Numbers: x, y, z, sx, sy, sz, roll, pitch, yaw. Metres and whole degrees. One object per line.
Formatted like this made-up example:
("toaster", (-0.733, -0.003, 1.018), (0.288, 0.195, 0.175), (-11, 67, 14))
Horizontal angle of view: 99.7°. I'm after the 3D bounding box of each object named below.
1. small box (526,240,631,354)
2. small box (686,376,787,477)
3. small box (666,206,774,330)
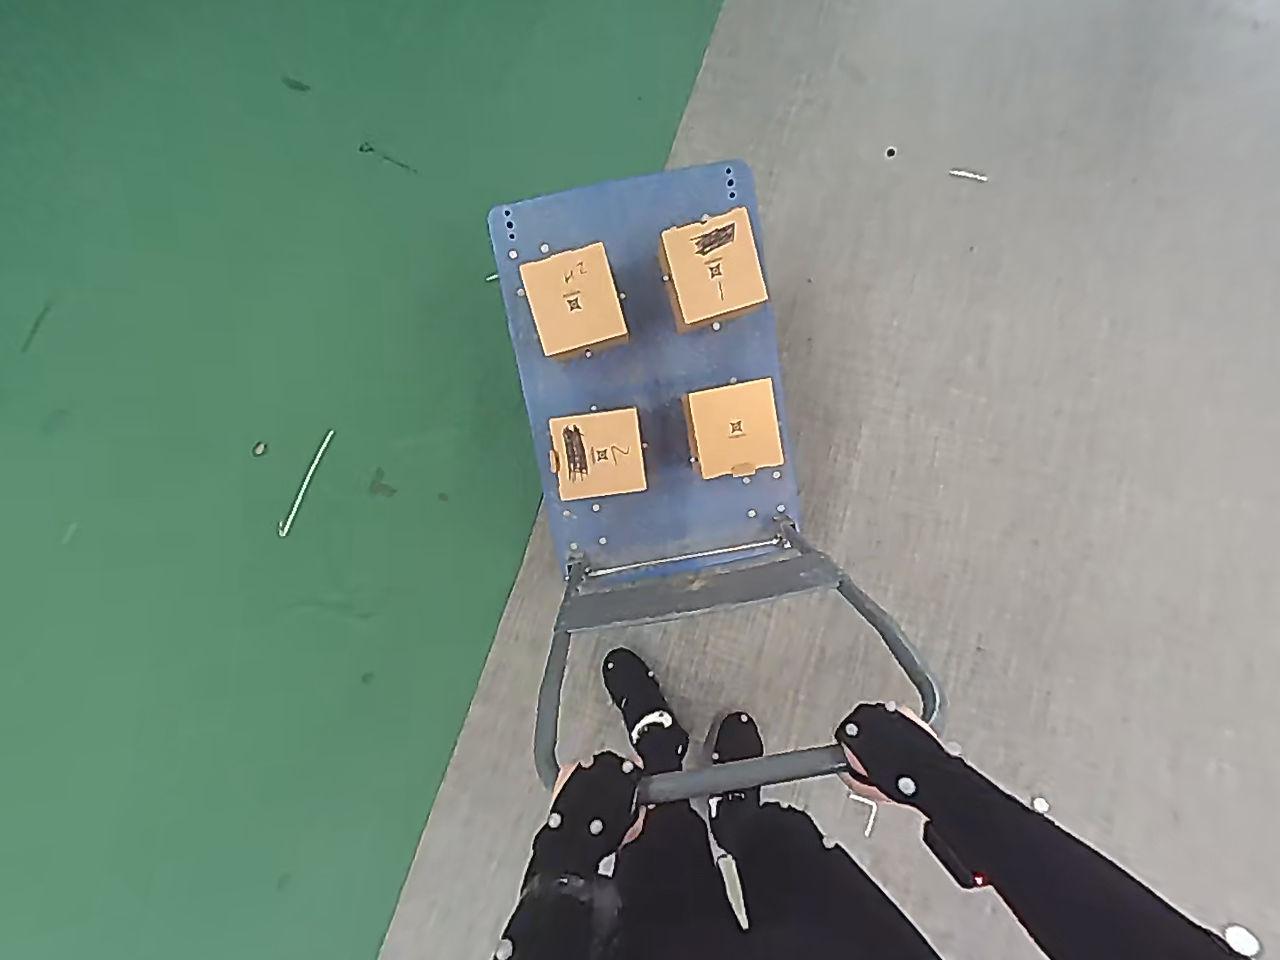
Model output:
("small box", (-0.115, -0.358, 1.093), (0.168, 0.176, 0.179), (-15, 99, 1))
("small box", (0.196, -0.115, 1.136), (0.168, 0.176, 0.179), (-10, 99, 1))
("small box", (0.153, -0.416, 1.088), (0.168, 0.176, 0.179), (-15, 99, 2))
